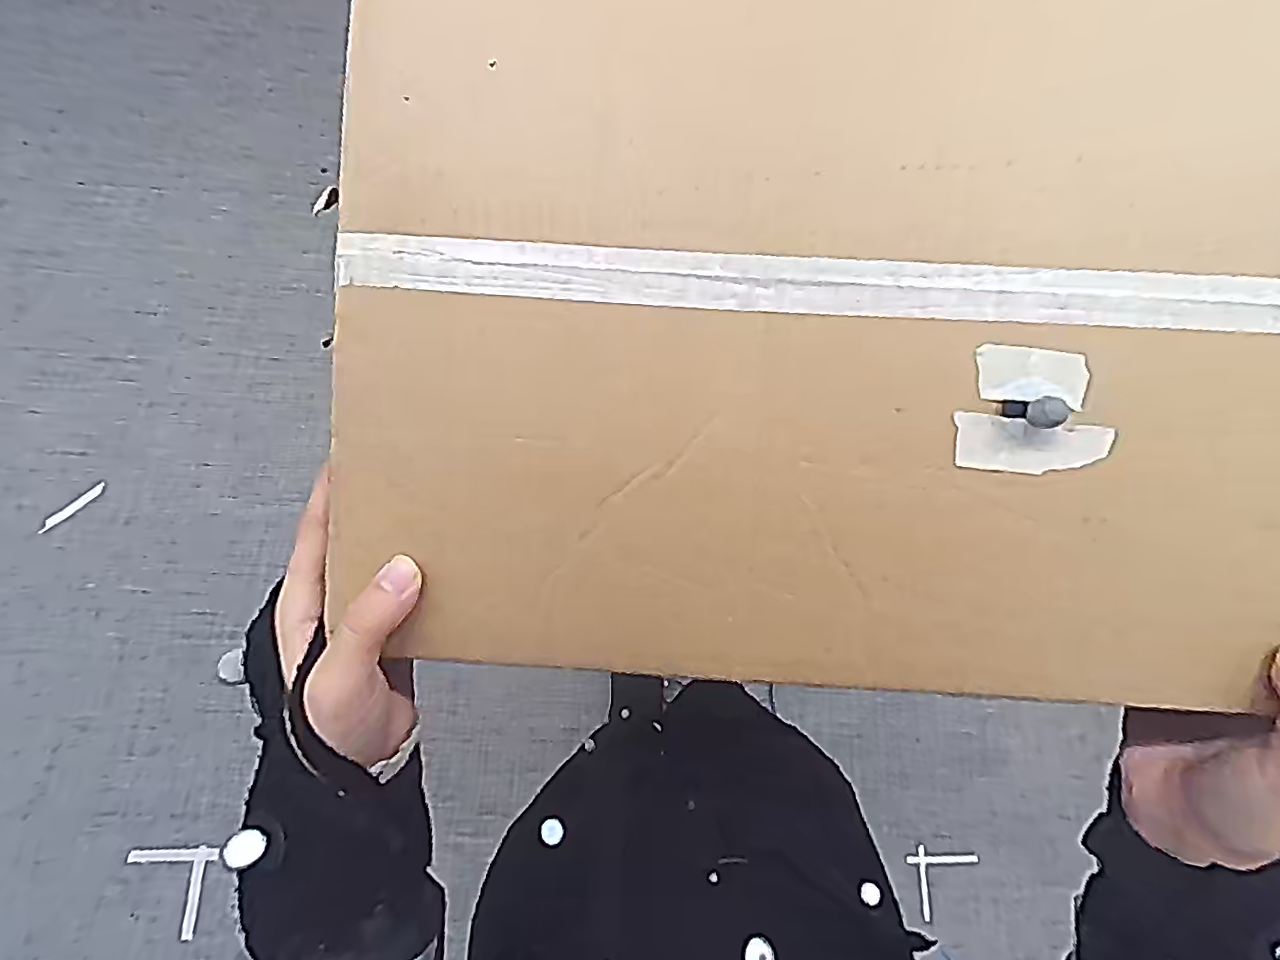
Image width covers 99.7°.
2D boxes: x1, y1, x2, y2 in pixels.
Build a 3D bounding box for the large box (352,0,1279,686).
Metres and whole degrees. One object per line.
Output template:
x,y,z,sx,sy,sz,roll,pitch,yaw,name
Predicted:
0.082,-0.073,0.372,0.408,0.320,0.320,3,91,0,large box
